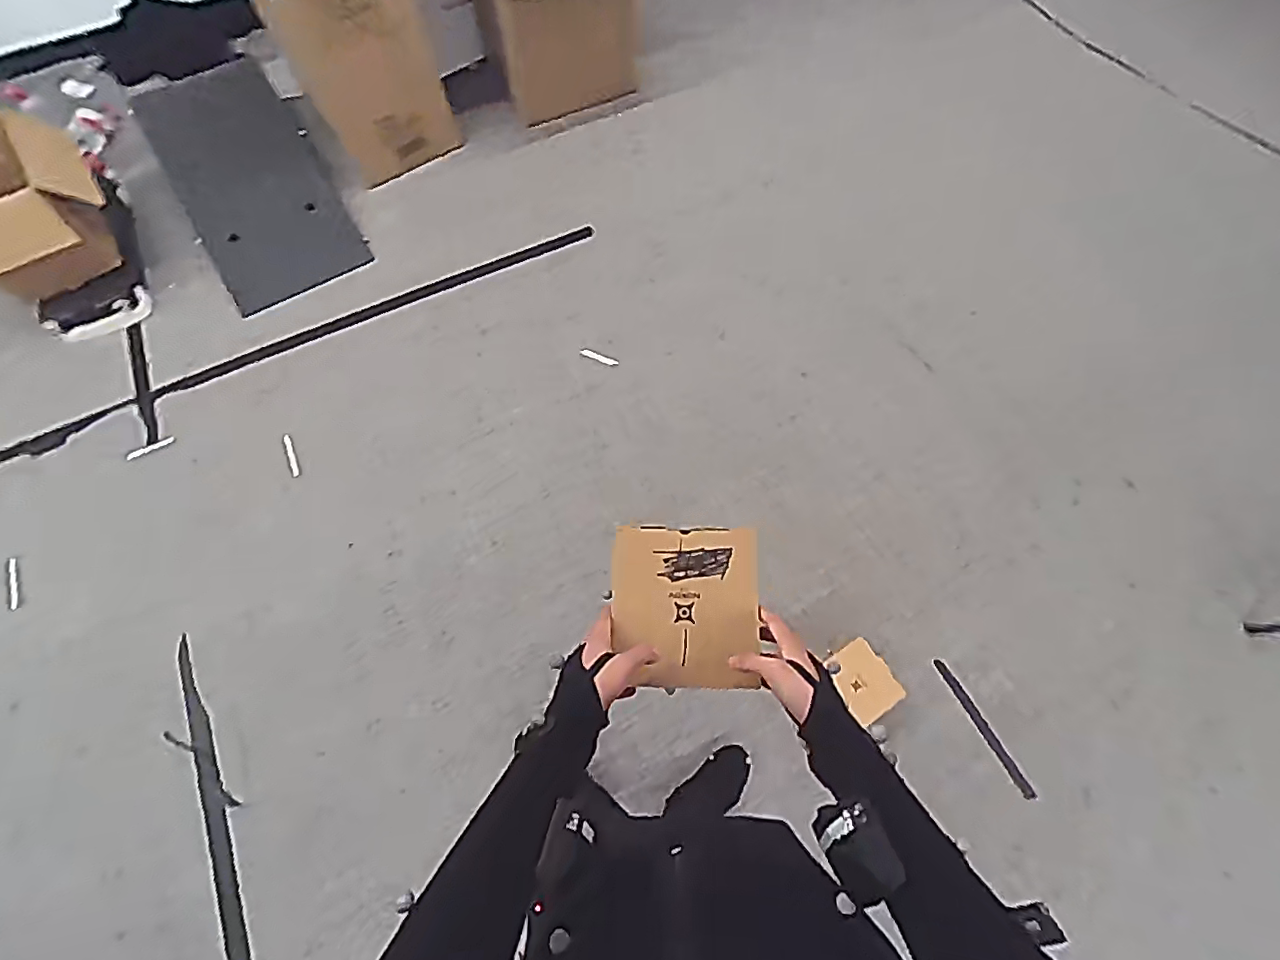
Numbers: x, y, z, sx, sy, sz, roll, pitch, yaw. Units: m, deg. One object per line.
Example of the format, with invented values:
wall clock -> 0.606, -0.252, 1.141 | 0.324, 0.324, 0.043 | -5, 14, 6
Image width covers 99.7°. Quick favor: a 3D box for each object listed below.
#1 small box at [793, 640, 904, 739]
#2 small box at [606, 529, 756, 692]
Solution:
small box -> 0.517, 0.527, 1.370 | 0.179, 0.176, 0.168 | -30, 71, -11
small box -> 0.043, 0.164, 0.679 | 0.168, 0.176, 0.179 | 1, 74, -1
